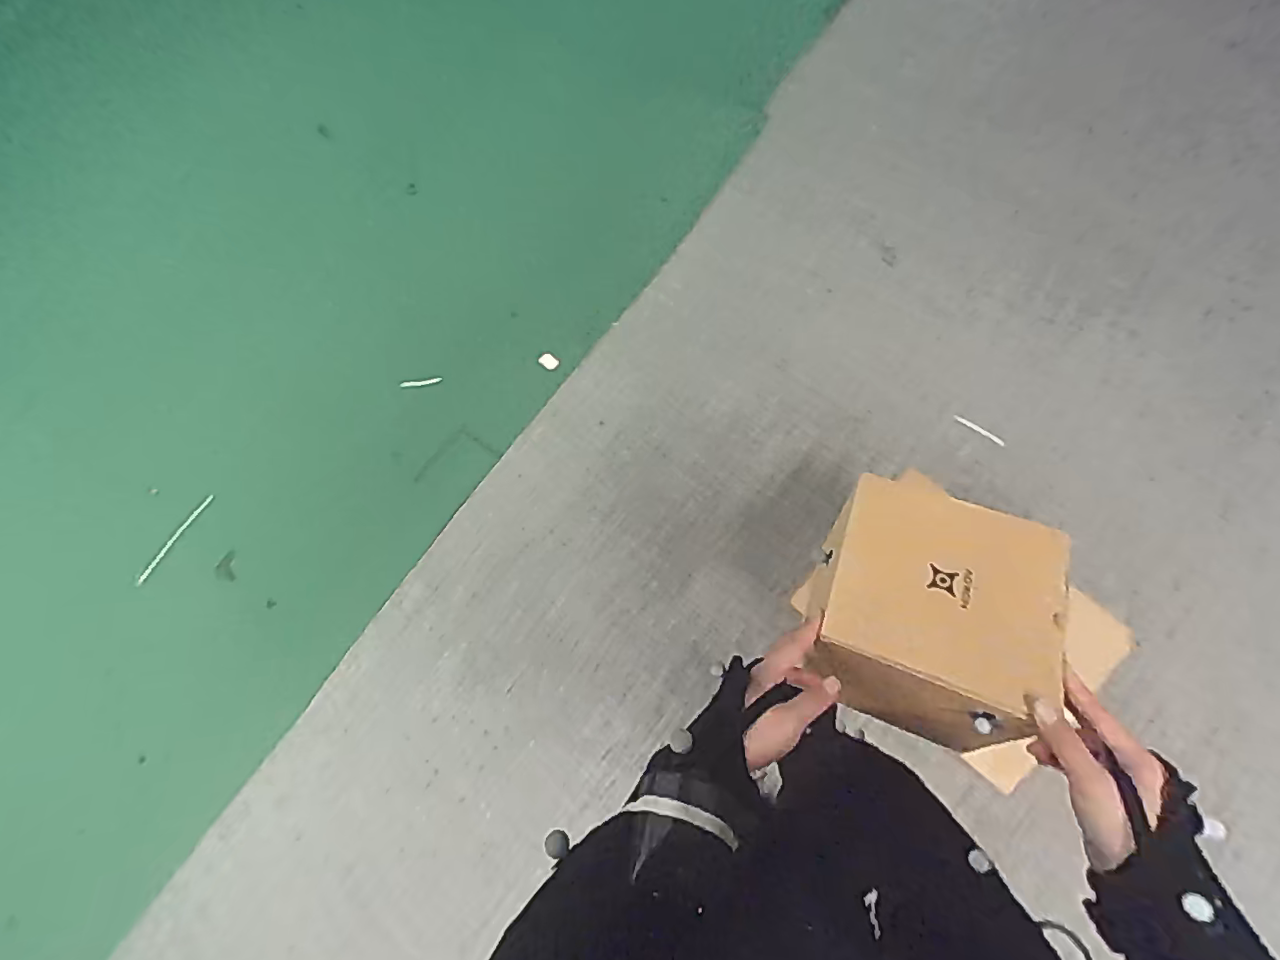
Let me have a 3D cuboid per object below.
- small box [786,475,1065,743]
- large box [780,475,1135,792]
[{"bbox_3d":[0.250,0.126,0.505,0.179,0.176,0.168,19,61,14],"label":"small box"},{"bbox_3d":[0.520,0.256,0.993,0.408,0.320,0.320,42,88,16],"label":"large box"}]
